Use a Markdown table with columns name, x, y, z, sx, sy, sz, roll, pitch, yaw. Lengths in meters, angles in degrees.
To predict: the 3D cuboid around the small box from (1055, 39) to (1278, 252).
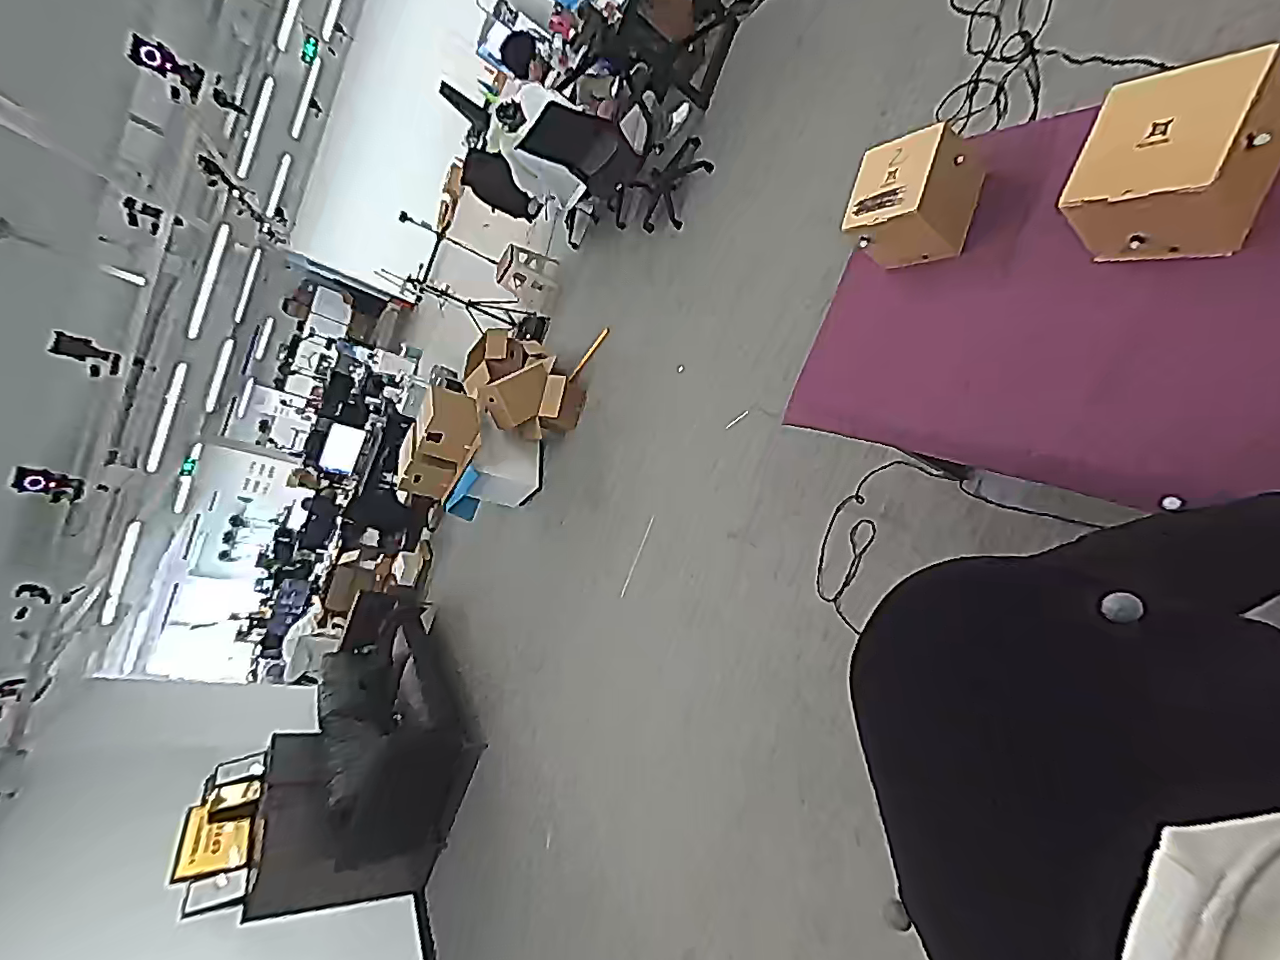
| name | x | y | z | sx | sy | sz | roll | pitch | yaw |
| --- | --- | --- | --- | --- | --- | --- | --- | --- | --- |
| small box | 0.732 | -0.443 | 0.753 | 0.168 | 0.176 | 0.179 | 29 | 101 | 55 |
